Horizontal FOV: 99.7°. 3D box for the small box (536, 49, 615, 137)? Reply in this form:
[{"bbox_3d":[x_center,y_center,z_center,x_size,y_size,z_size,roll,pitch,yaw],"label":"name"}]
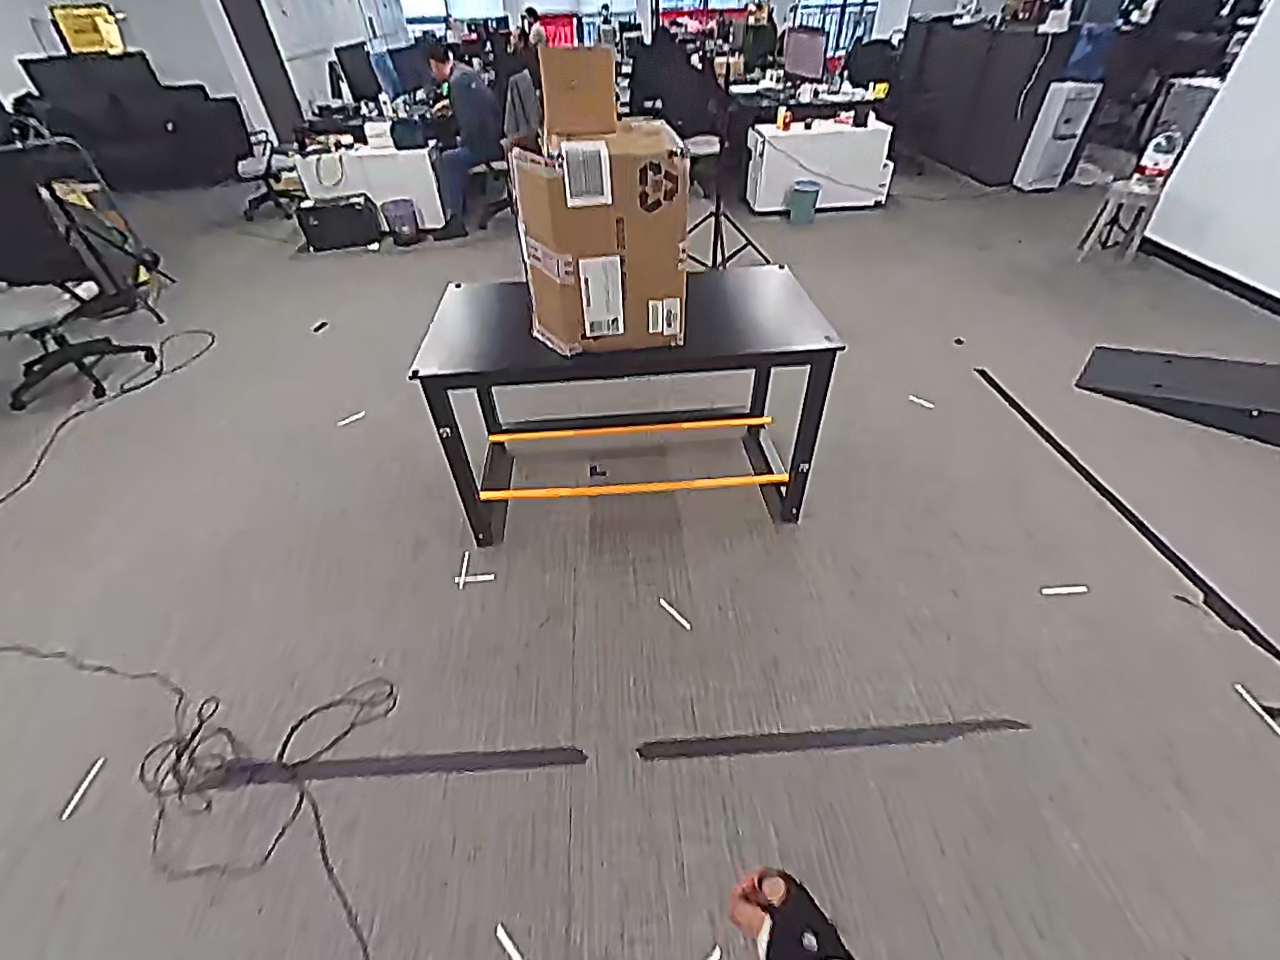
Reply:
[{"bbox_3d":[-0.160,-0.967,1.351,0.179,0.176,0.168,-6,40,-6],"label":"small box"}]
